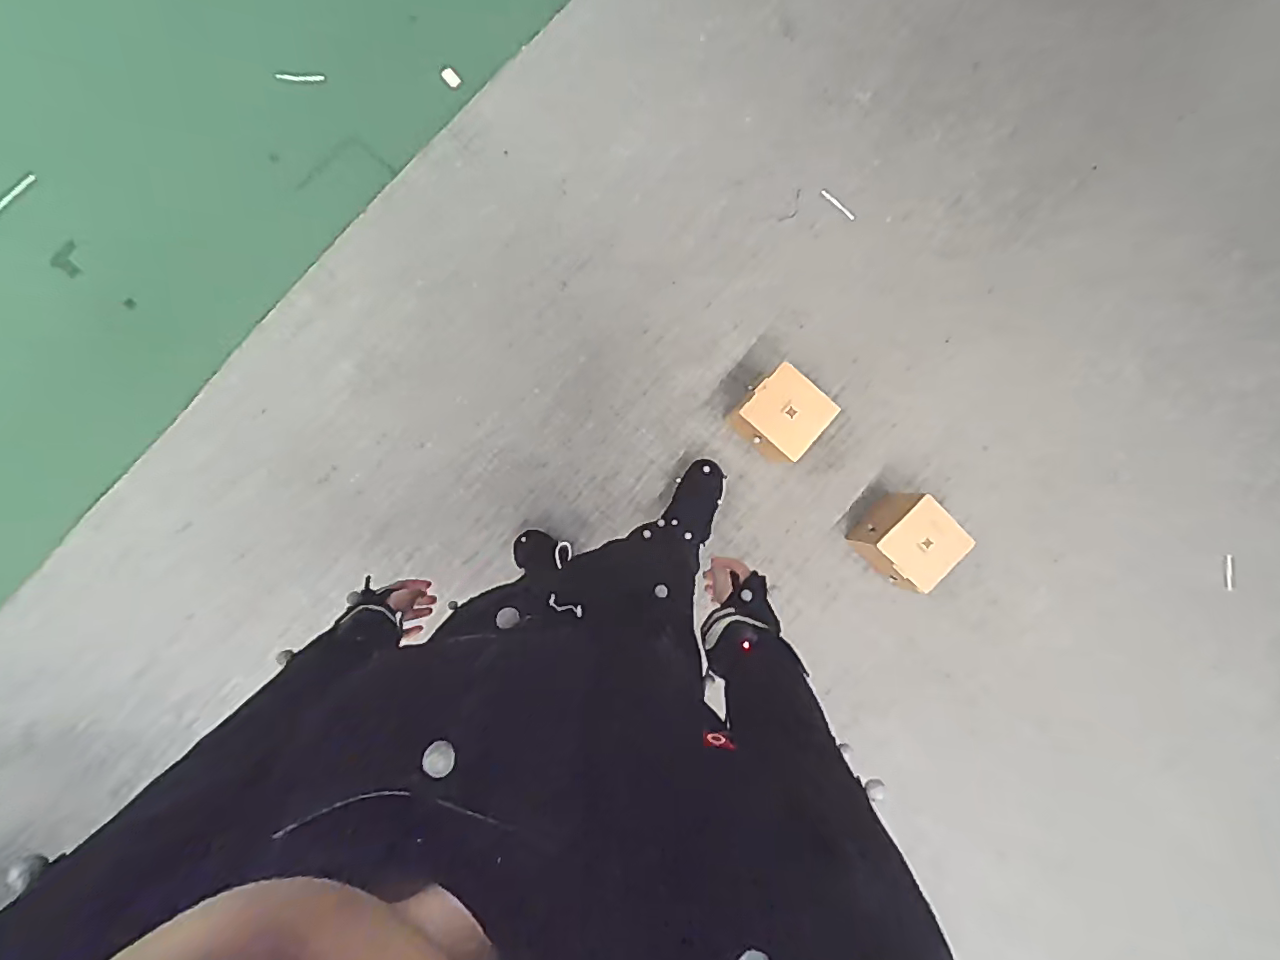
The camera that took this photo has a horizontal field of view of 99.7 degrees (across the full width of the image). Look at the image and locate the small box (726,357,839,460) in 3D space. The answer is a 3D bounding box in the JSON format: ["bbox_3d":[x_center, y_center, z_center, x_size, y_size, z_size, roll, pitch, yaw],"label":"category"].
[{"bbox_3d":[0.332,-0.163,1.294,0.179,0.176,0.168,41,88,-1],"label":"small box"}]

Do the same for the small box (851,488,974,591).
[{"bbox_3d":[0.641,0.137,1.304,0.168,0.176,0.179,45,86,-3],"label":"small box"}]
